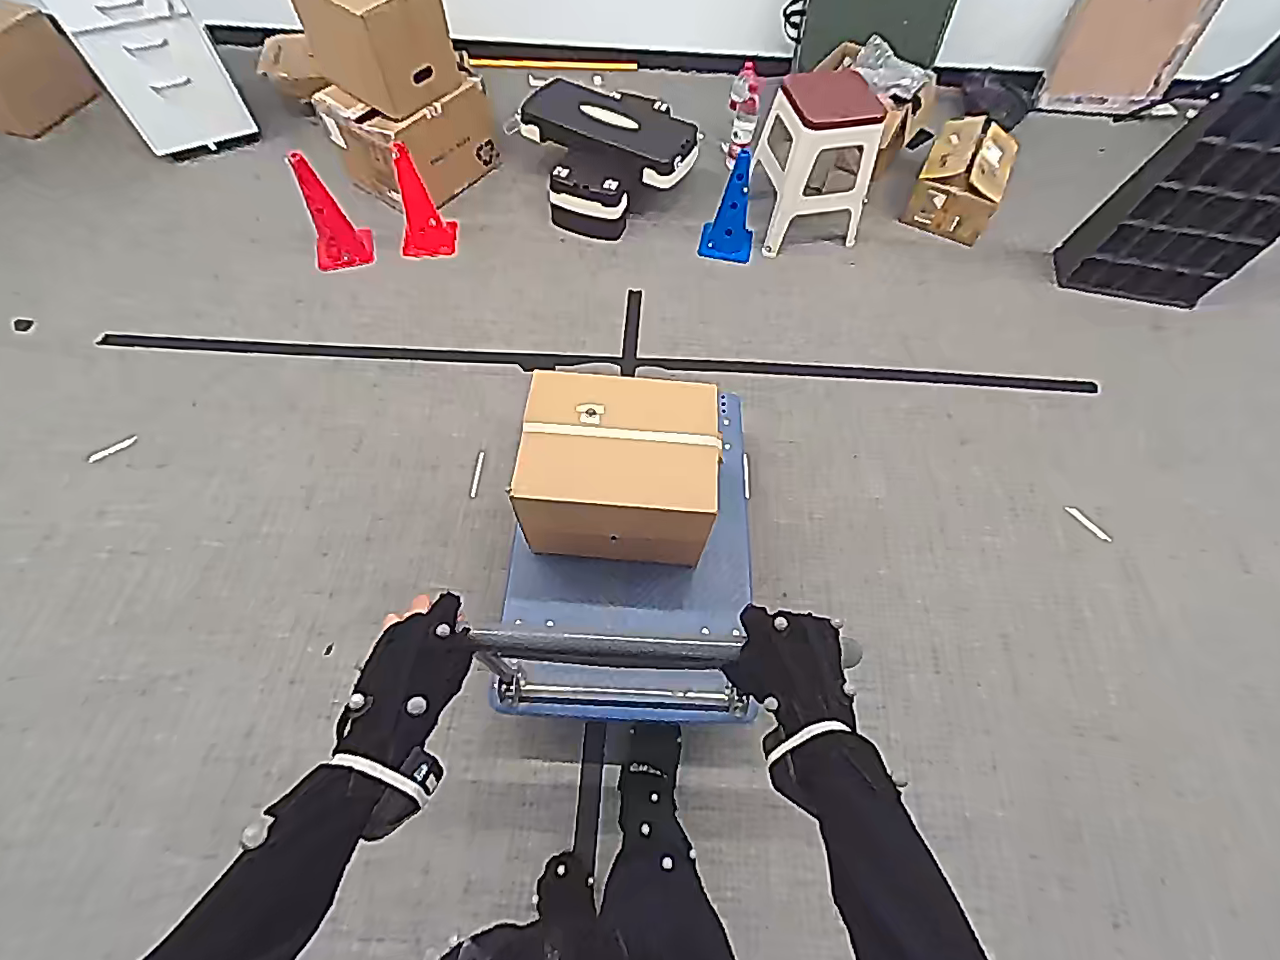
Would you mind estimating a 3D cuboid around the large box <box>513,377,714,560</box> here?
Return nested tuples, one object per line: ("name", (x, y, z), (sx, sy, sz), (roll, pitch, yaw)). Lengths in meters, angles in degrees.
("large box", (-0.046, -0.014, 1.257), (0.408, 0.320, 0.320), (4, 62, 1))
